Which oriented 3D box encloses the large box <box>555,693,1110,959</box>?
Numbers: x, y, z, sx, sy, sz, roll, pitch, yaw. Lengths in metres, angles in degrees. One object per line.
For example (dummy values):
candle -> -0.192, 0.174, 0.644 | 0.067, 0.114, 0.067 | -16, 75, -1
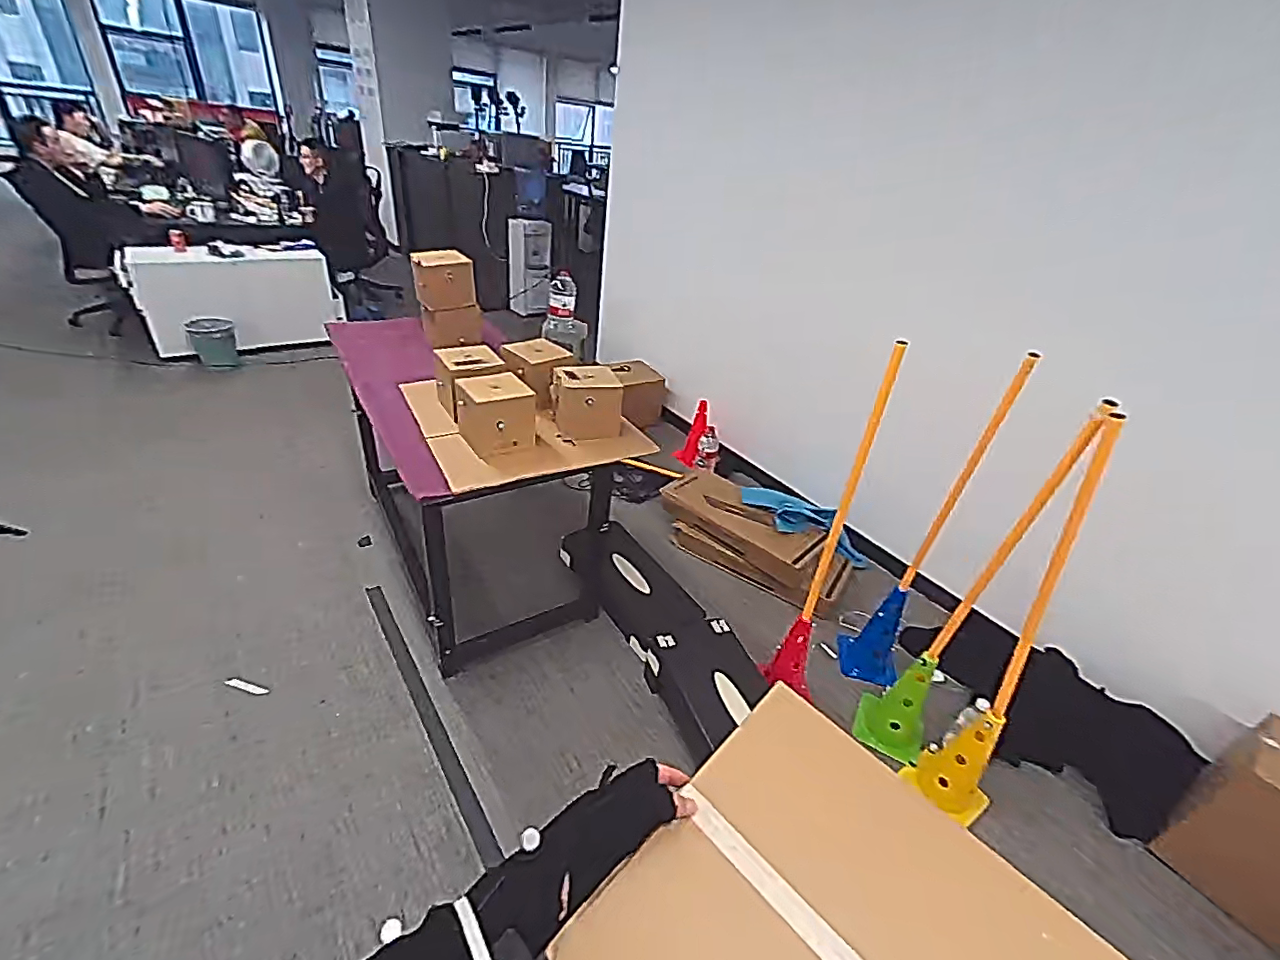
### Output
large box -> 0.168, 0.496, 0.489 | 0.320, 0.320, 0.408 | -32, 52, -34
